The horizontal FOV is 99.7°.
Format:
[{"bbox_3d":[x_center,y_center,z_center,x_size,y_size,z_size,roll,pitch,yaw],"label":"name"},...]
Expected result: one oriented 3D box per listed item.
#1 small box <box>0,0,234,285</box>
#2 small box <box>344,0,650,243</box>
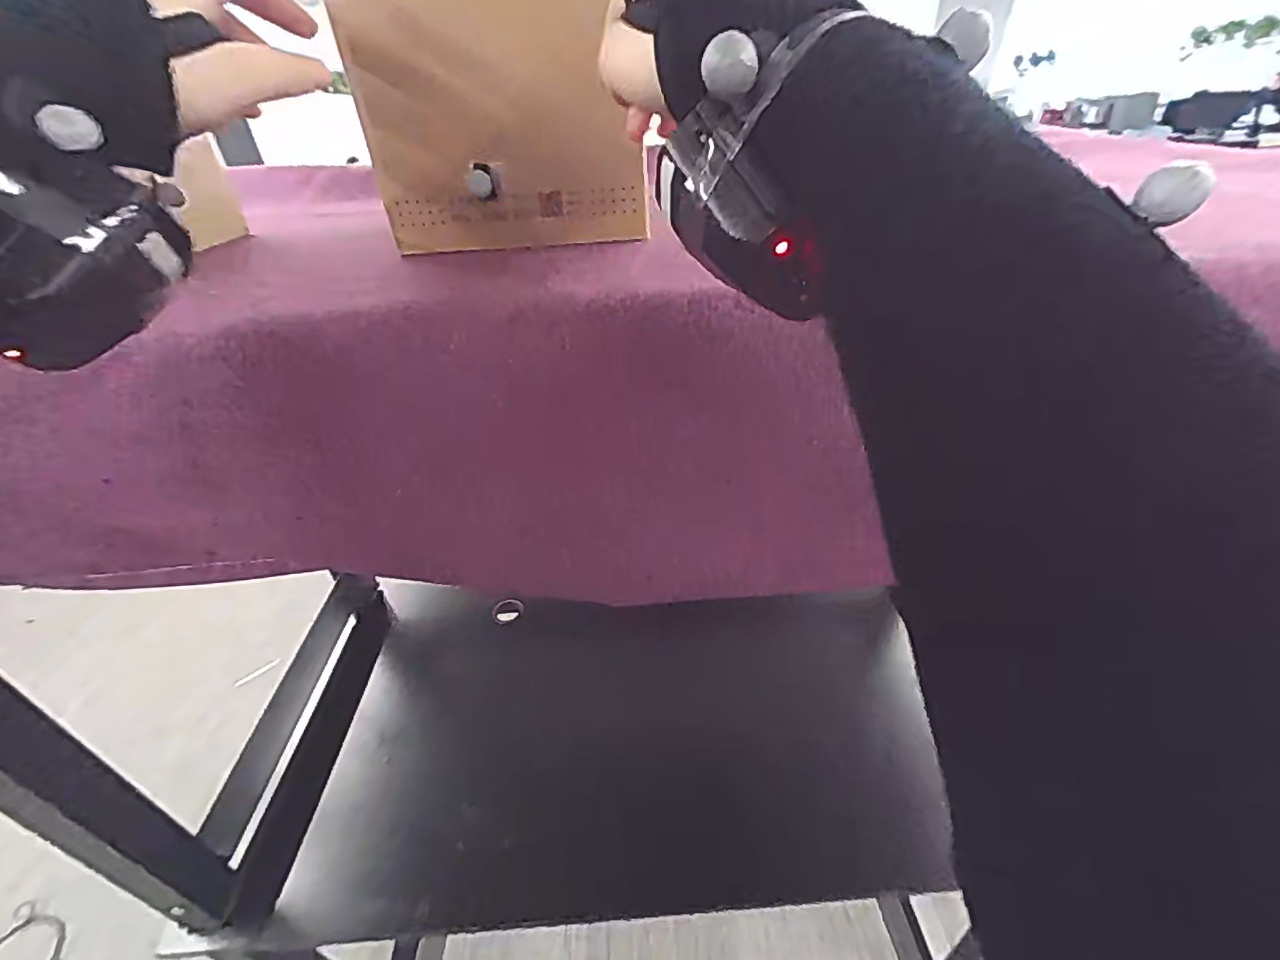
[{"bbox_3d":[-0.403,-0.226,0.338,0.168,0.176,0.179,-5,34,-1],"label":"small box"},{"bbox_3d":[-0.080,-0.269,0.372,0.168,0.176,0.179,-4,35,1],"label":"small box"}]
